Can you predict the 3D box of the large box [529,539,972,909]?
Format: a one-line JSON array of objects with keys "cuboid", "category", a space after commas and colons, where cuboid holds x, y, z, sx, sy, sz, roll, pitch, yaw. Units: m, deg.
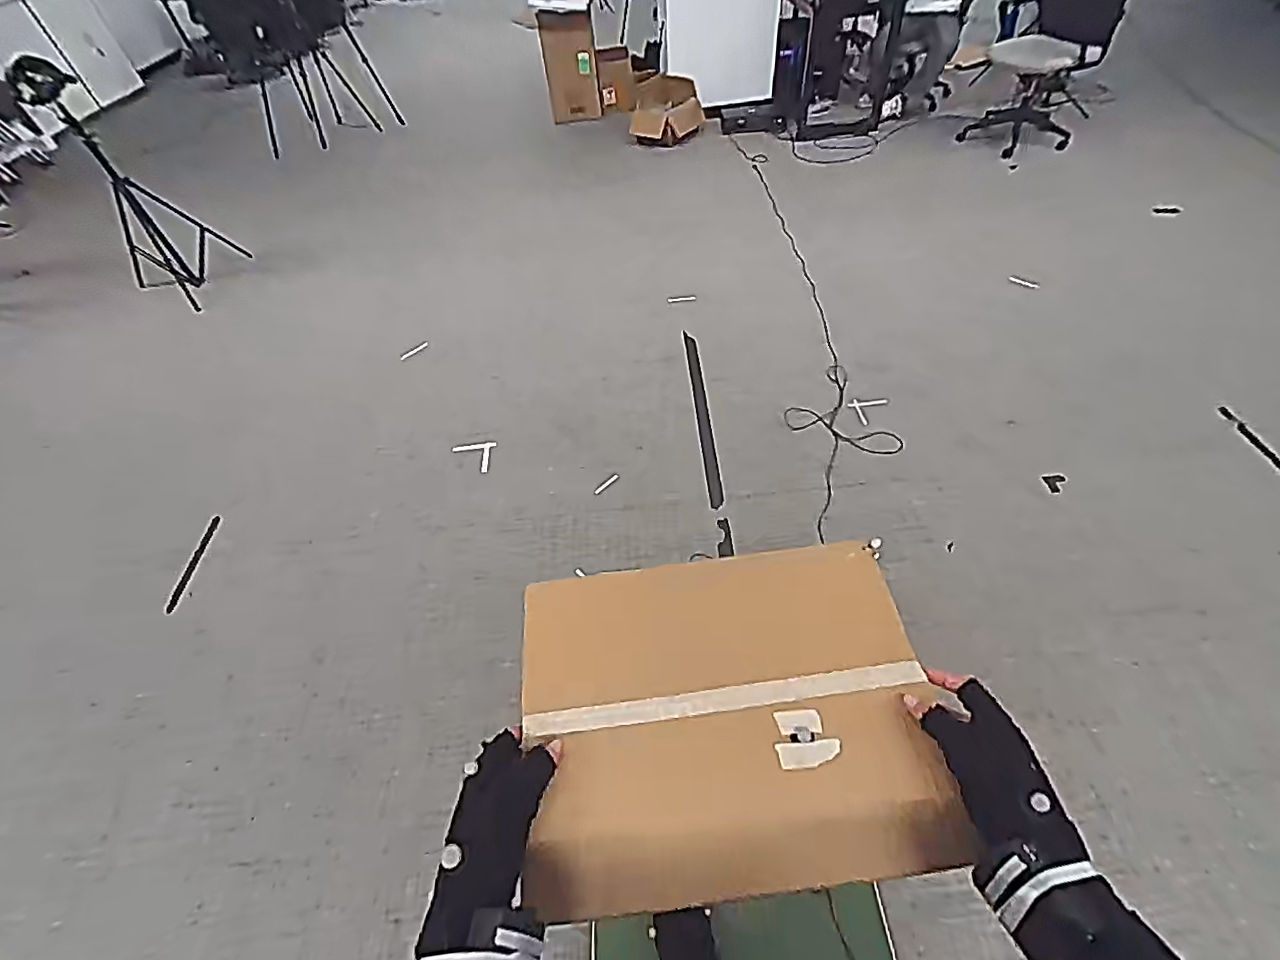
[{"cuboid": [0.090, 0.309, 0.680, 0.408, 0.320, 0.320, -8, 54, -1], "category": "large box"}]
